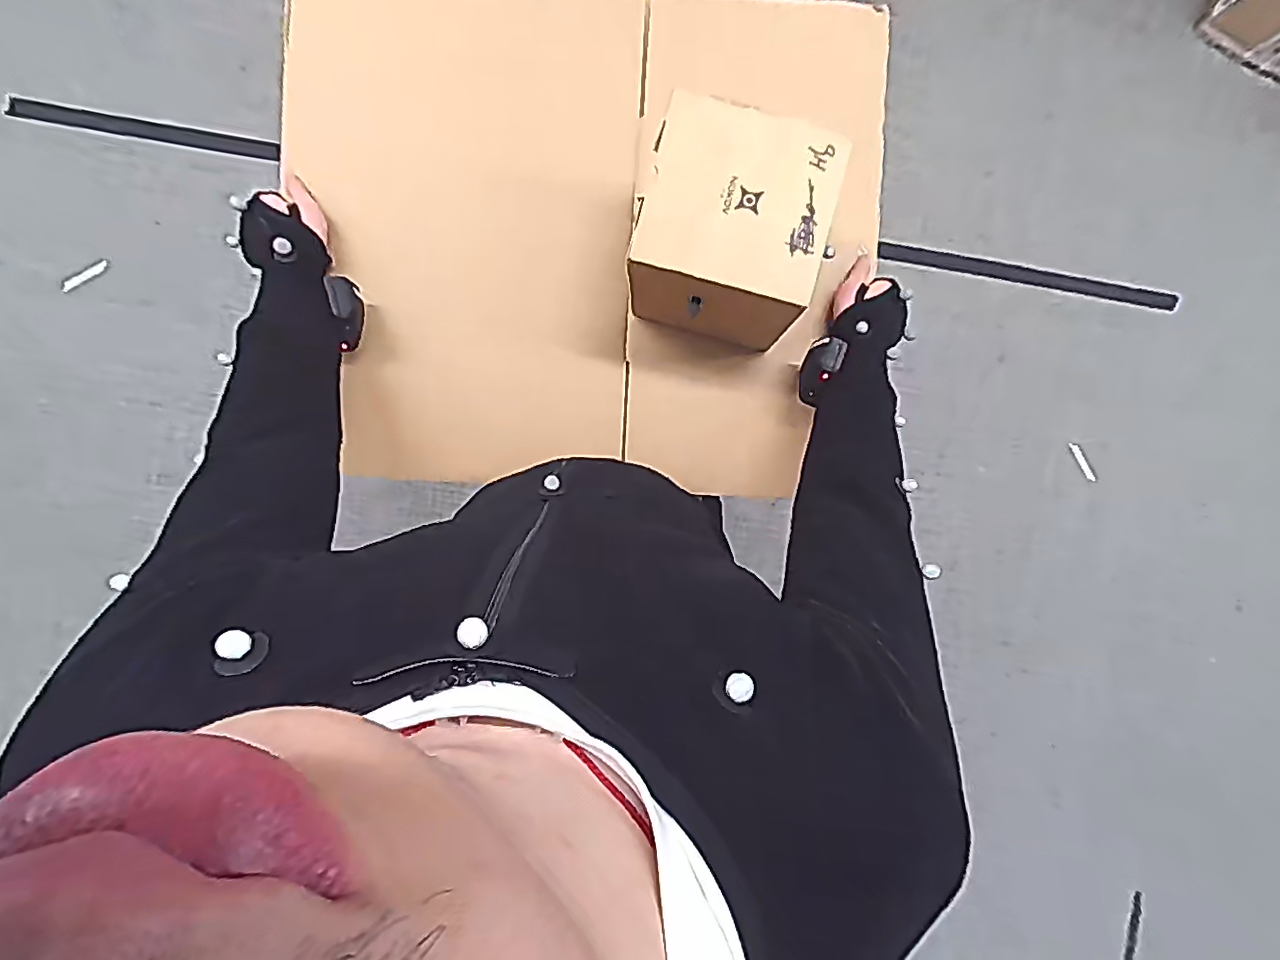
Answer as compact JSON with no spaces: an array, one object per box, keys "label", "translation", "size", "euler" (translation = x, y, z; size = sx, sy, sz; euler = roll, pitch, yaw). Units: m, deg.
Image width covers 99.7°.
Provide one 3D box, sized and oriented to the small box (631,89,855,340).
[{"label":"small box","translation":[0.098,-0.266,0.583],"size":[0.179,0.176,0.168],"euler":[16,90,2]}]
